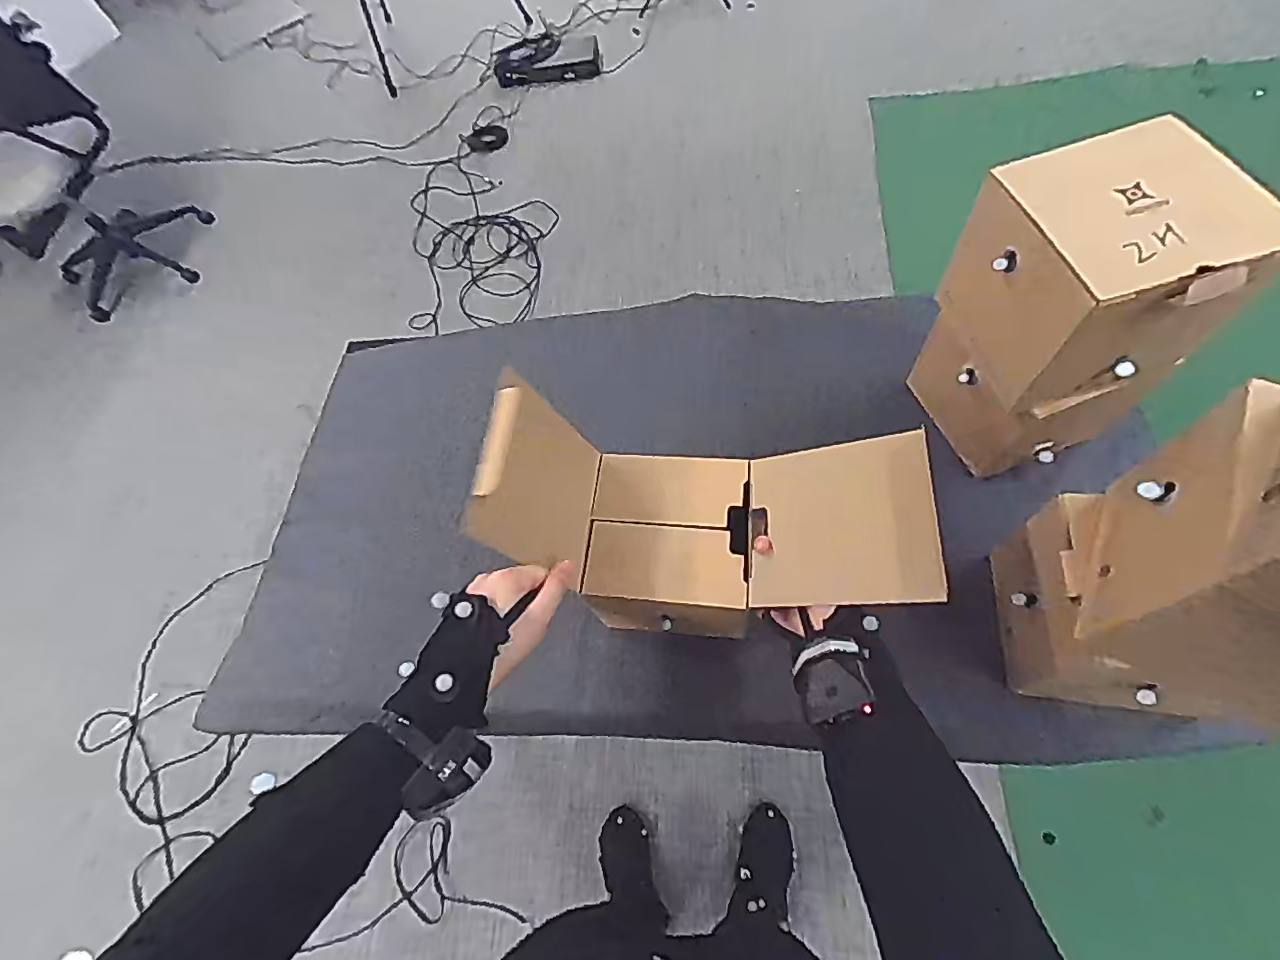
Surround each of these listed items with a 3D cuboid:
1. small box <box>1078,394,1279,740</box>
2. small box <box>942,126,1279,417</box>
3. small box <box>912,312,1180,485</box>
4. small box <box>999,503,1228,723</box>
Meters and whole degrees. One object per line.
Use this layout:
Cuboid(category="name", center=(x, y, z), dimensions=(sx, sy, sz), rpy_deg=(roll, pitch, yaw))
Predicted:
Cuboid(category="small box", center=(0.465, 0.074, 0.387), dimensions=(0.179, 0.176, 0.168), rpy_deg=(24, 67, 20))
Cuboid(category="small box", center=(0.429, -0.190, 0.525), dimensions=(0.168, 0.176, 0.179), rpy_deg=(-16, 64, 5))
Cuboid(category="small box", center=(0.471, -0.122, 0.669), dimensions=(0.168, 0.176, 0.179), rpy_deg=(-21, 64, 1))
Cuboid(category="small box", center=(0.486, 0.137, 0.537), dimensions=(0.179, 0.176, 0.168), rpy_deg=(4, 62, 12))
